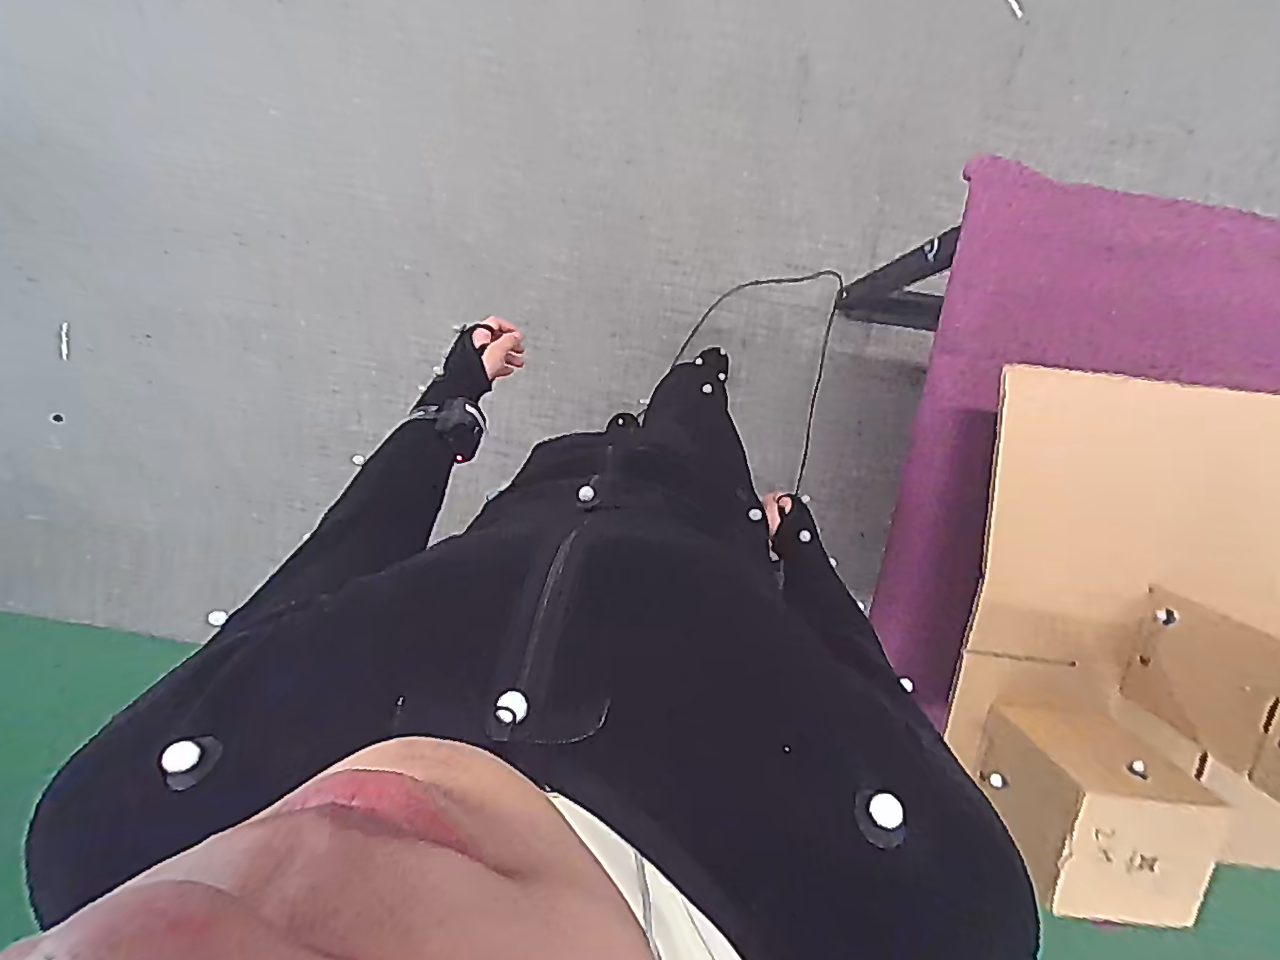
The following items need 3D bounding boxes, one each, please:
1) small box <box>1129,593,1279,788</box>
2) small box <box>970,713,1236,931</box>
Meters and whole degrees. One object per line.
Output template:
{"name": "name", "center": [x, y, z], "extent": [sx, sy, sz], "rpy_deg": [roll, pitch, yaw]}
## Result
{"name": "small box", "center": [0.765, 0.250, 0.660], "extent": [0.179, 0.176, 0.168], "rpy_deg": [6, 102, -1]}
{"name": "small box", "center": [0.574, 0.426, 0.697], "extent": [0.179, 0.176, 0.168], "rpy_deg": [7, 100, 0]}
